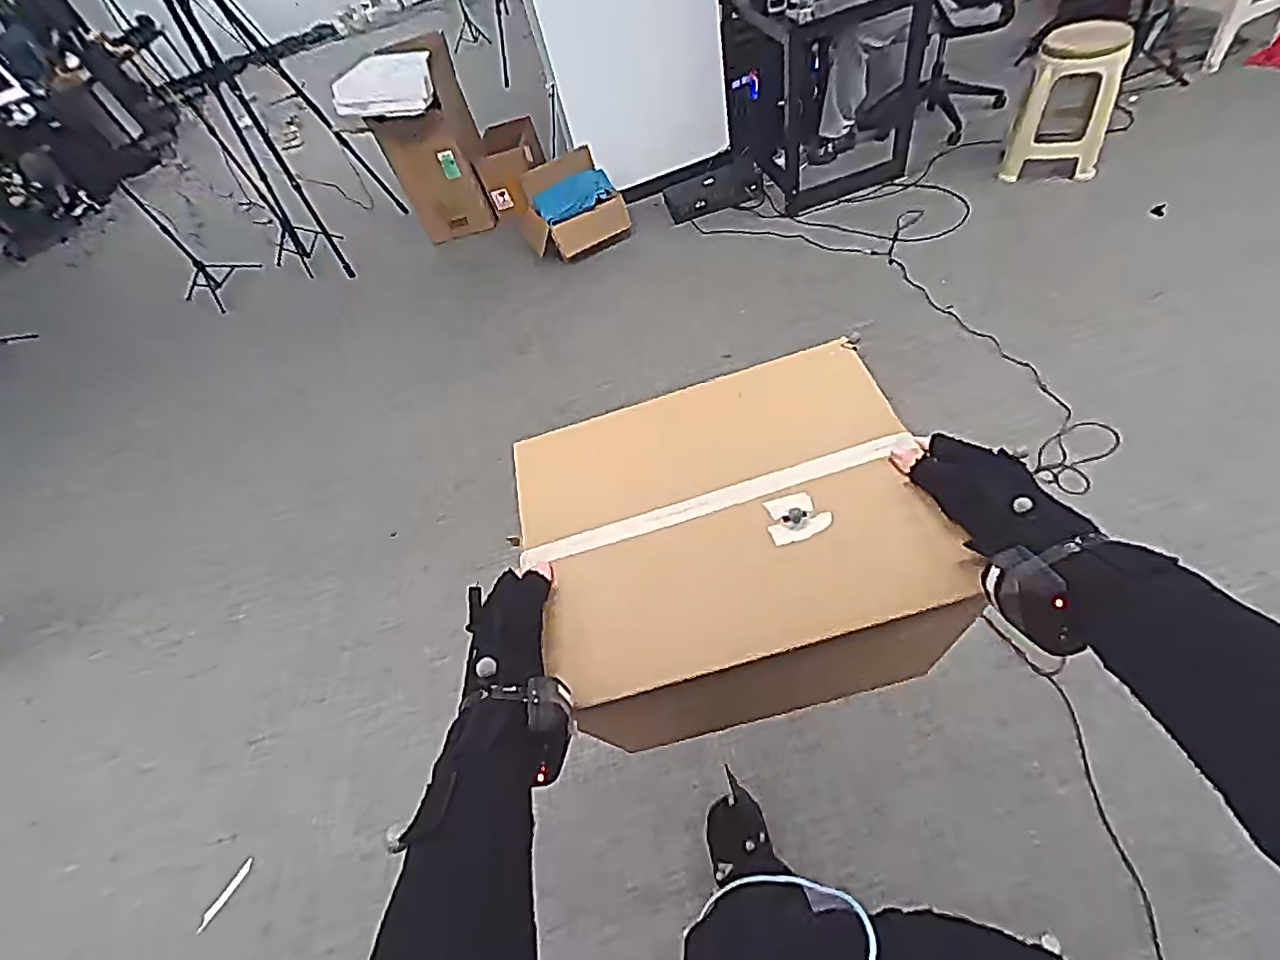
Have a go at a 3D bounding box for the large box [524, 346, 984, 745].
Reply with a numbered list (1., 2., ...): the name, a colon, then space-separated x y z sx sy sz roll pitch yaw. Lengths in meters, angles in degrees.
1. large box: 0.110 0.101 0.682 0.408 0.320 0.320 -17 56 3
